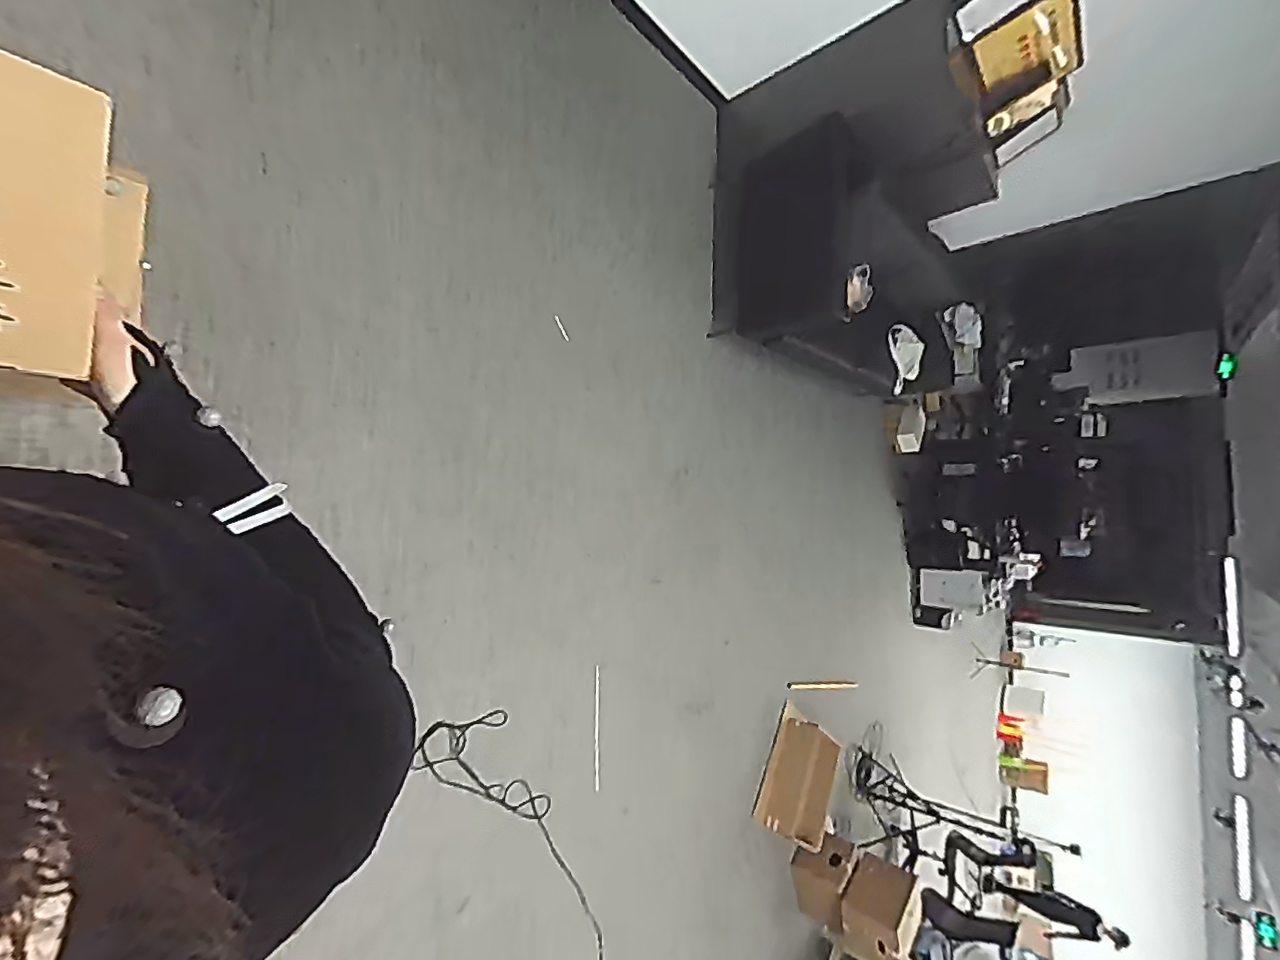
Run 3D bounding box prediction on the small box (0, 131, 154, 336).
[{"bbox_3d":[-0.752,-0.301,0.692,0.168,0.176,0.179,9,81,-47],"label":"small box"}]
